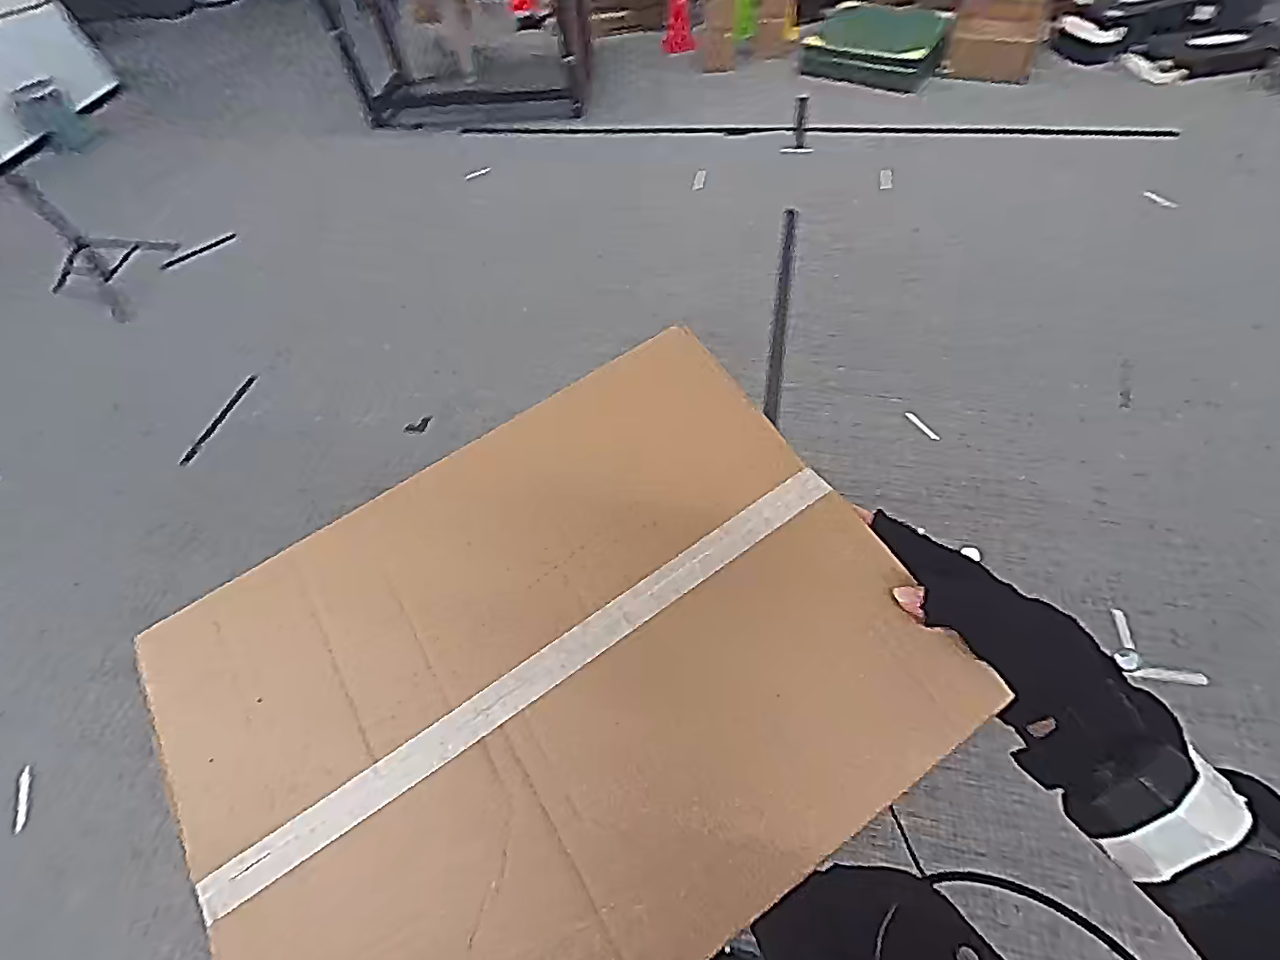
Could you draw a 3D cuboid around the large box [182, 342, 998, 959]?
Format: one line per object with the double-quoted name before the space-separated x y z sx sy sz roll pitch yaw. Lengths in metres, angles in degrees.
"large box" -0.033 0.169 0.457 0.408 0.320 0.320 -32 68 -10
